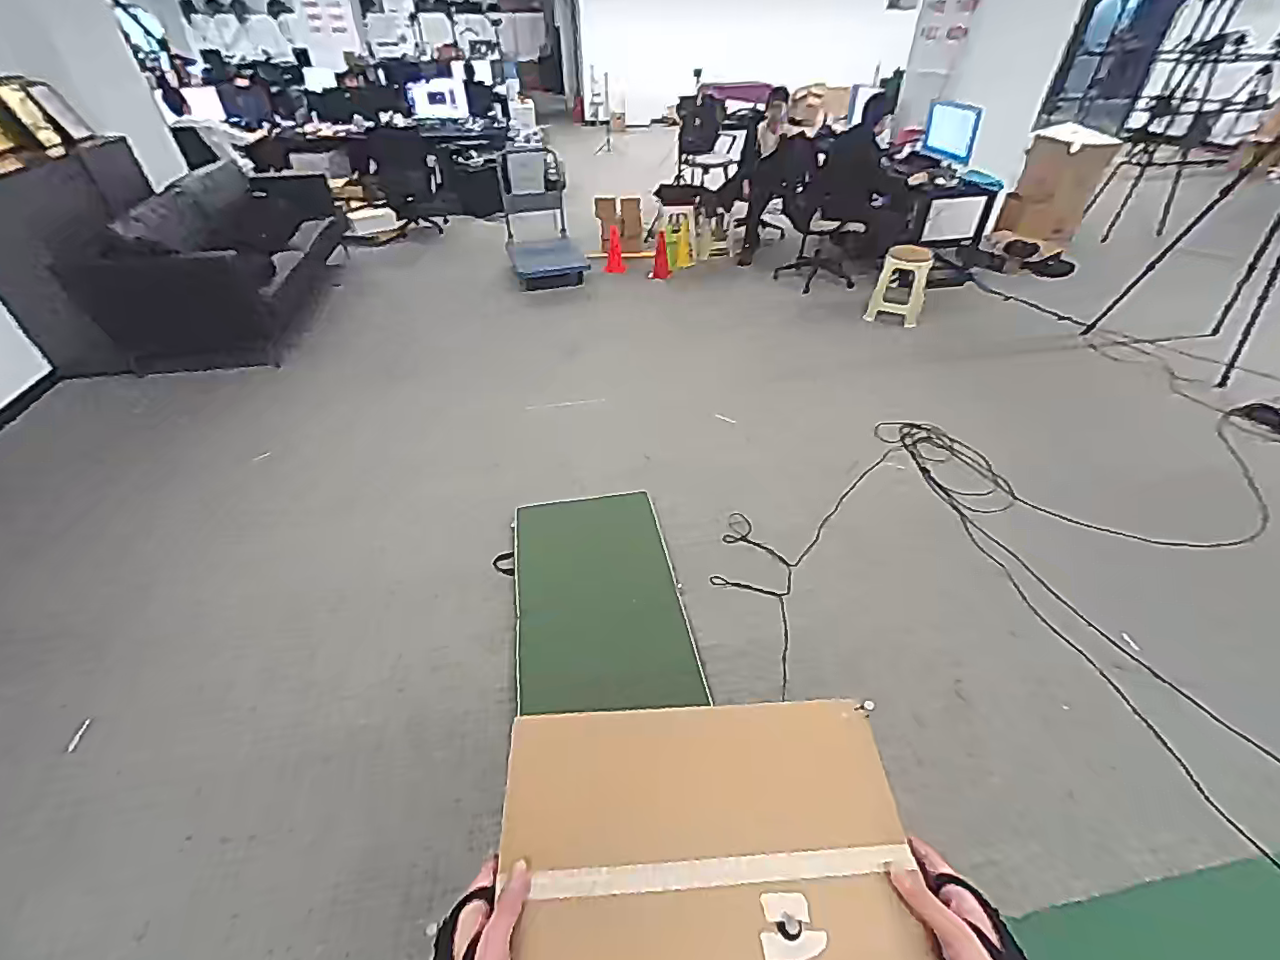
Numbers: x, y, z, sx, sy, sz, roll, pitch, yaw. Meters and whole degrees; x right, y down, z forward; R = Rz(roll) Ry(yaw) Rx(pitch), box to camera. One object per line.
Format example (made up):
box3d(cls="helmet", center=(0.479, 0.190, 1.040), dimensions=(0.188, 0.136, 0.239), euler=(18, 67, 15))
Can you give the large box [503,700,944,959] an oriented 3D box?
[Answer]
box3d(cls="large box", center=(0.066, 0.486, 0.636), dimensions=(0.408, 0.320, 0.320), euler=(-2, 47, -3))
